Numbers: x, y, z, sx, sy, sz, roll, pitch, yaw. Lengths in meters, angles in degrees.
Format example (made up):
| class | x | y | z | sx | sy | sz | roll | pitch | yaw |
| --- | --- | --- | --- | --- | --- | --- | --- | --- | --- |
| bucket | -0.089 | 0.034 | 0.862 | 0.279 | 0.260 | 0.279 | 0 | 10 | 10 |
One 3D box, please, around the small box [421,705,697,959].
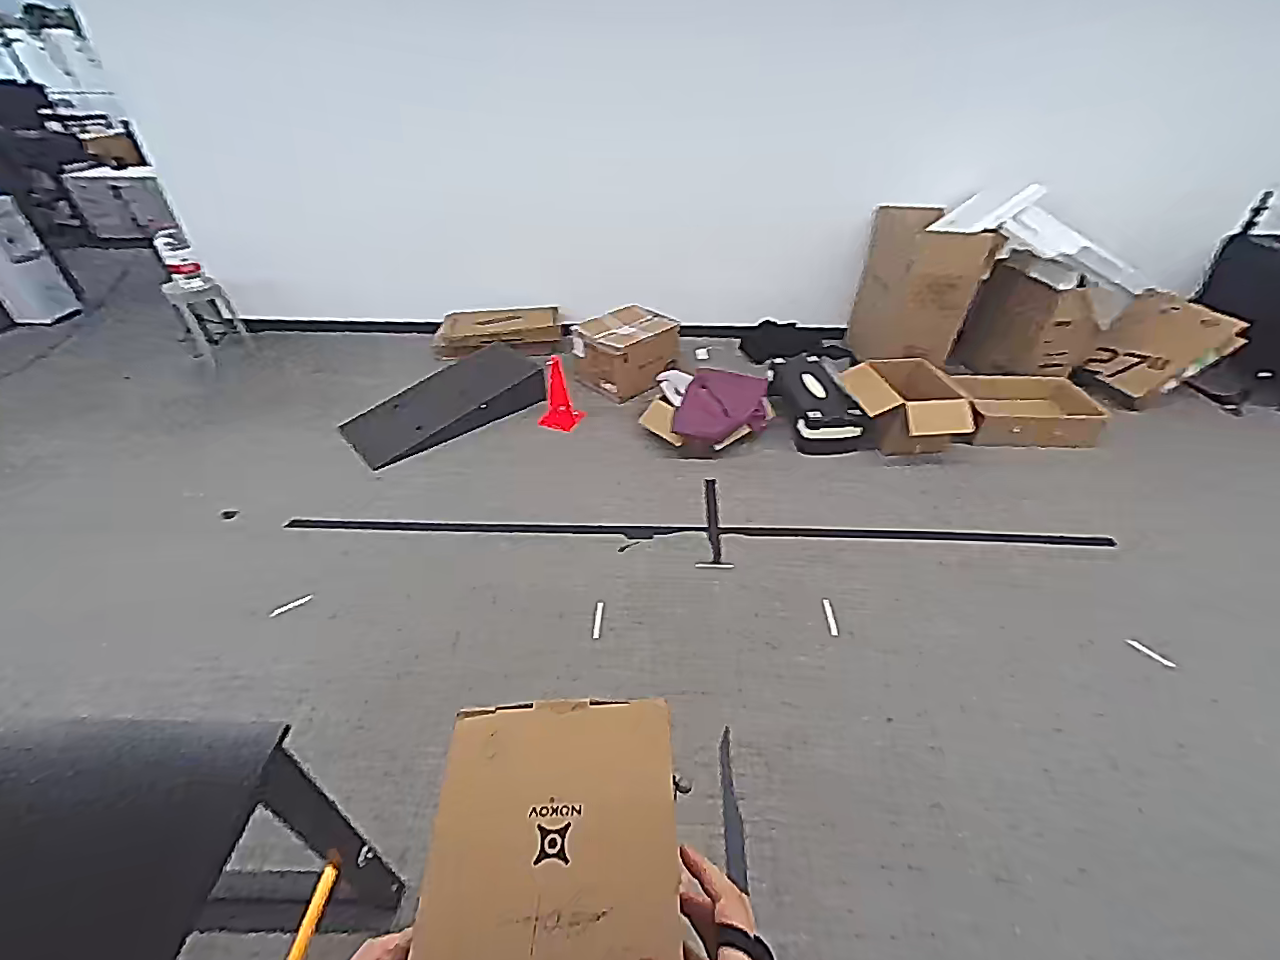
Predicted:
| class | x | y | z | sx | sy | sz | roll | pitch | yaw |
| --- | --- | --- | --- | --- | --- | --- | --- | --- | --- |
| small box | -0.045 | 0.292 | 0.415 | 0.168 | 0.176 | 0.179 | -3 | 48 | 2 |
